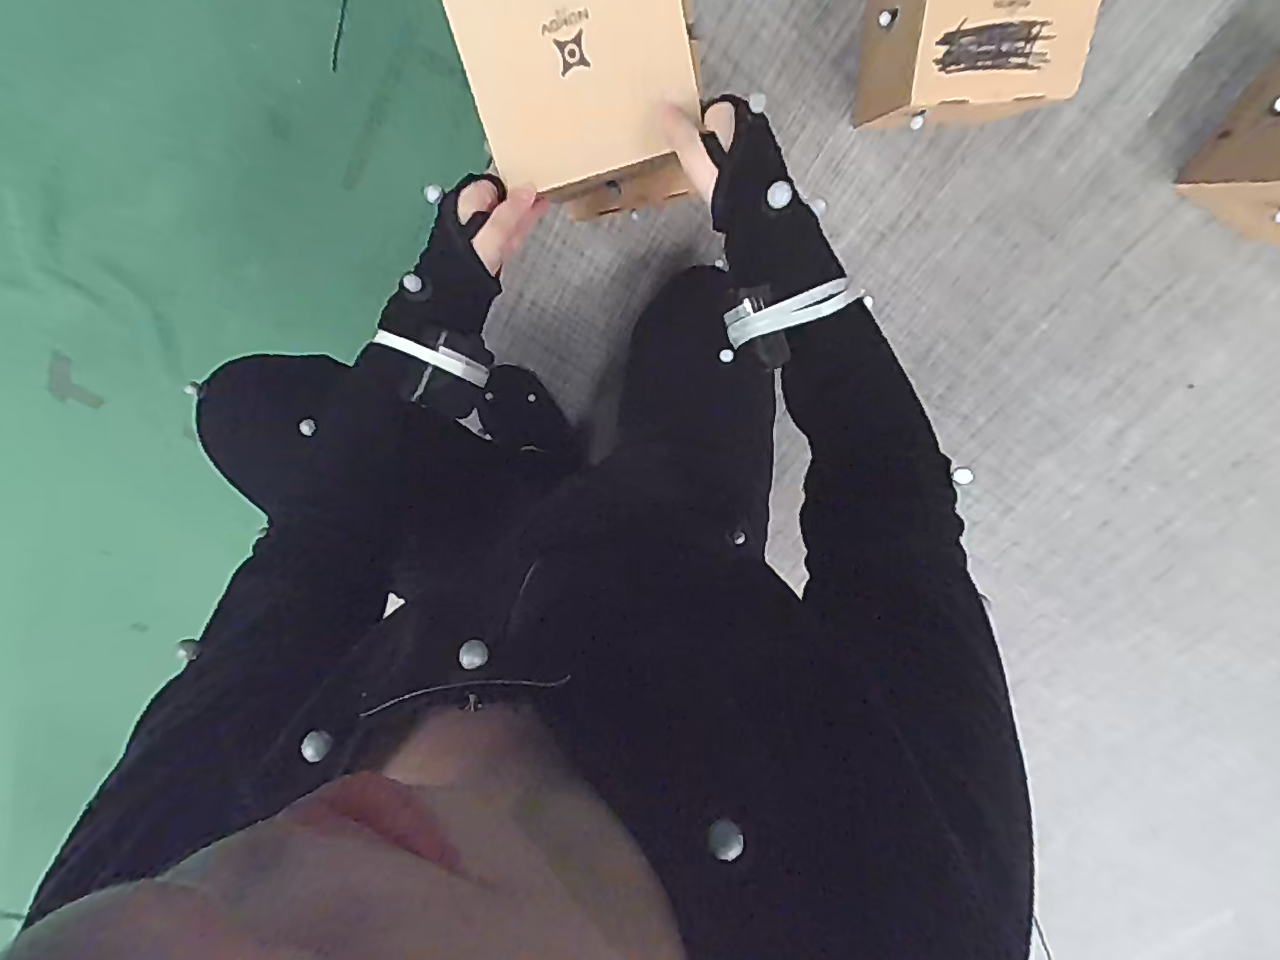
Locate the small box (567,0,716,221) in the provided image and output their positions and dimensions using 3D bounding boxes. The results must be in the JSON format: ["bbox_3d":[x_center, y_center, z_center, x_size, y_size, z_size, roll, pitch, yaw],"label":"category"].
[{"bbox_3d":[-0.013,-0.411,0.629,0.168,0.176,0.179,-10,116,6],"label":"small box"}]

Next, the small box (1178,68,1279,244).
[{"bbox_3d":[0.812,-0.383,0.629,0.179,0.176,0.168,23,115,-9],"label":"small box"}]

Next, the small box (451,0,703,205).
[{"bbox_3d":[-0.039,-0.353,0.469,0.168,0.176,0.179,-11,114,10],"label":"small box"}]
